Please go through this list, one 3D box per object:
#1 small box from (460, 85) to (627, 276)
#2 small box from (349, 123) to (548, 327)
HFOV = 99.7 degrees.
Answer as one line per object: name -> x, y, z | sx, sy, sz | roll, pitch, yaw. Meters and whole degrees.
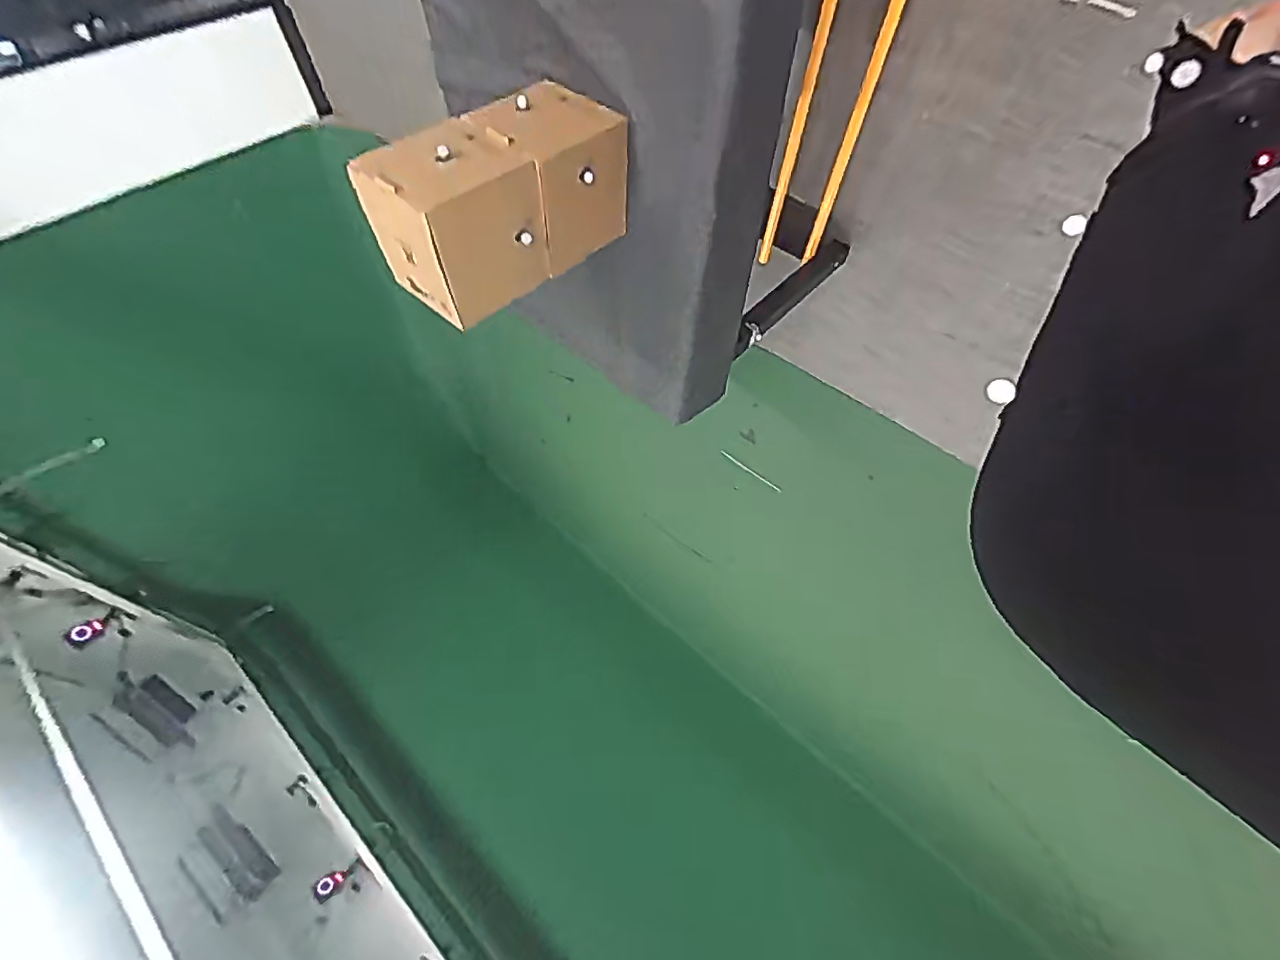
small box -> -0.132, -0.450, 0.806 | 0.168, 0.176, 0.179 | 39, 154, 21
small box -> -0.247, -0.352, 0.741 | 0.168, 0.176, 0.179 | 38, 153, 21
